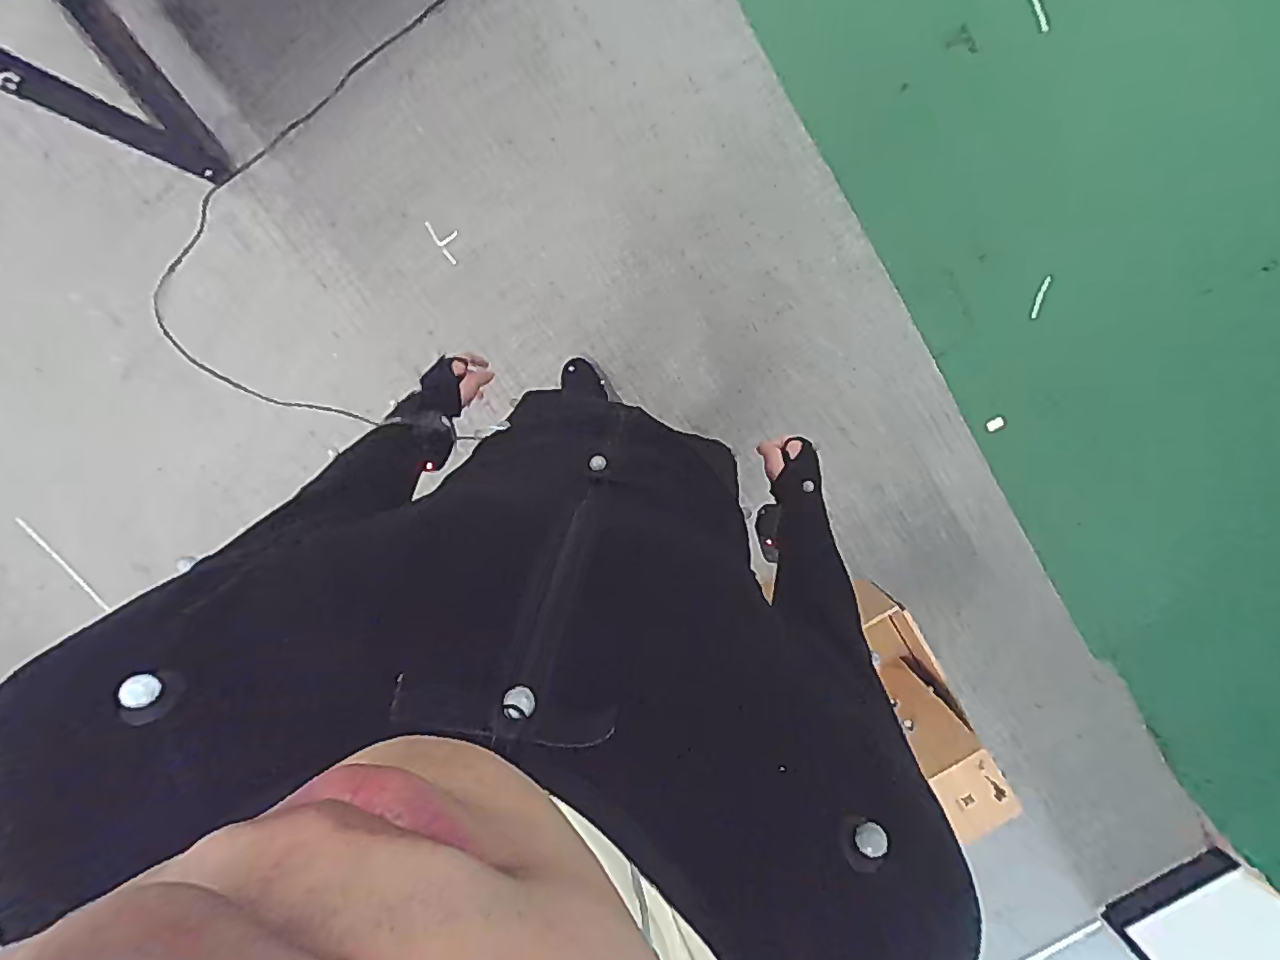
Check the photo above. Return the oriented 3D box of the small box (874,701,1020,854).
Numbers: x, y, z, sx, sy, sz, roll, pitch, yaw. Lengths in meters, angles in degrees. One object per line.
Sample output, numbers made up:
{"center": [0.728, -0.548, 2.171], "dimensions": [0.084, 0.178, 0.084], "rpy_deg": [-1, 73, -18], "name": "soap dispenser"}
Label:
{"center": [0.602, 0.591, 1.091], "dimensions": [0.179, 0.176, 0.168], "rpy_deg": [-32, 100, 6], "name": "small box"}
